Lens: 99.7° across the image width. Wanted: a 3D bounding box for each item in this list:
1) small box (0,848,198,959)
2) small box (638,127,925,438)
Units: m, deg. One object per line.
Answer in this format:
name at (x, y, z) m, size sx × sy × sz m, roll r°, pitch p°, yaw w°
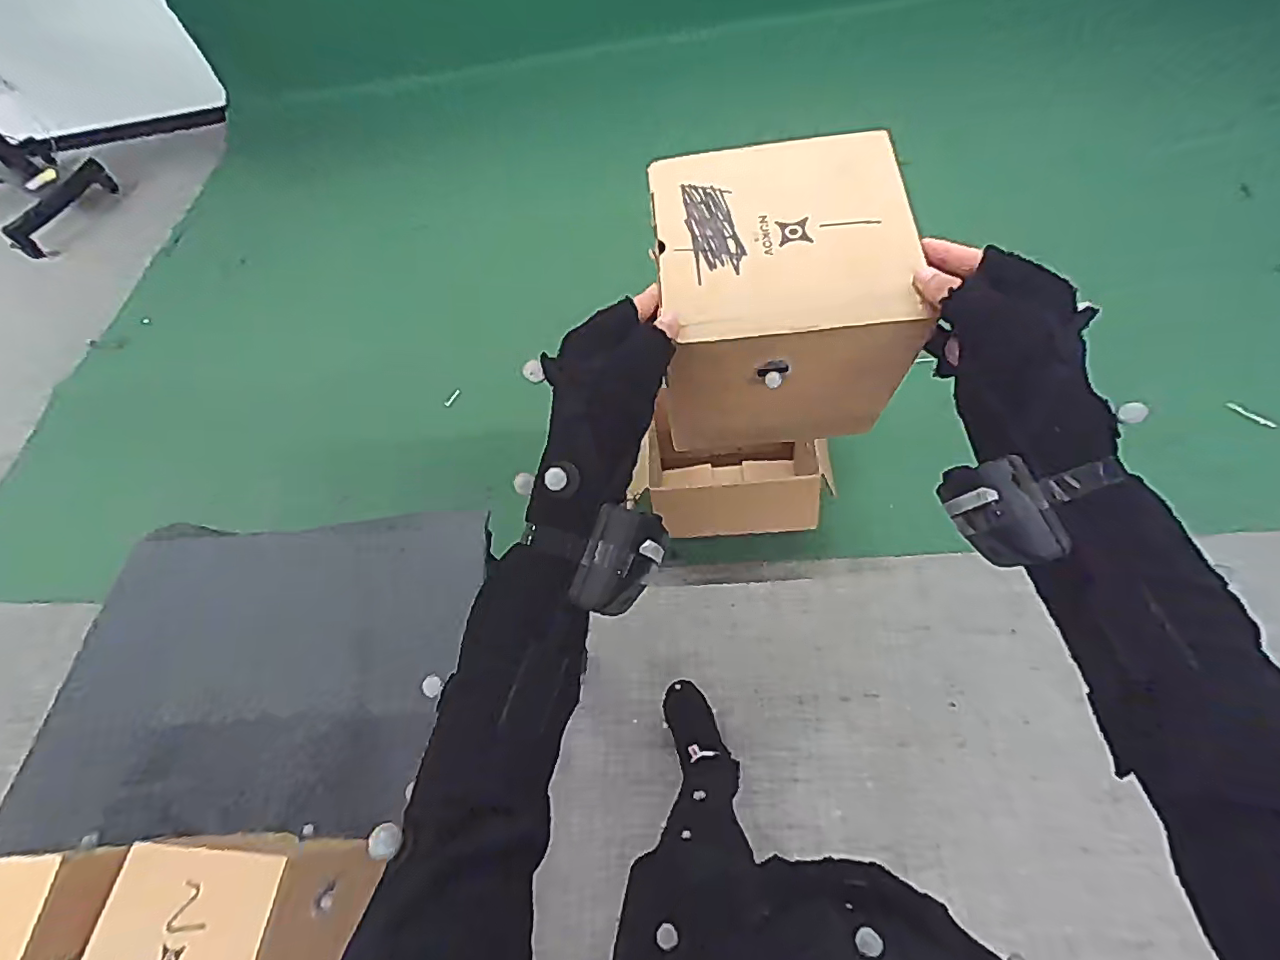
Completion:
small box at (-0.600, 0.476, 0.538) m, size 0.168 × 0.176 × 0.179 m, roll -6°, pitch 60°, yaw 5°
small box at (0.098, -0.144, 0.444) m, size 0.179 × 0.176 × 0.168 m, roll -5°, pitch 69°, yaw 5°
